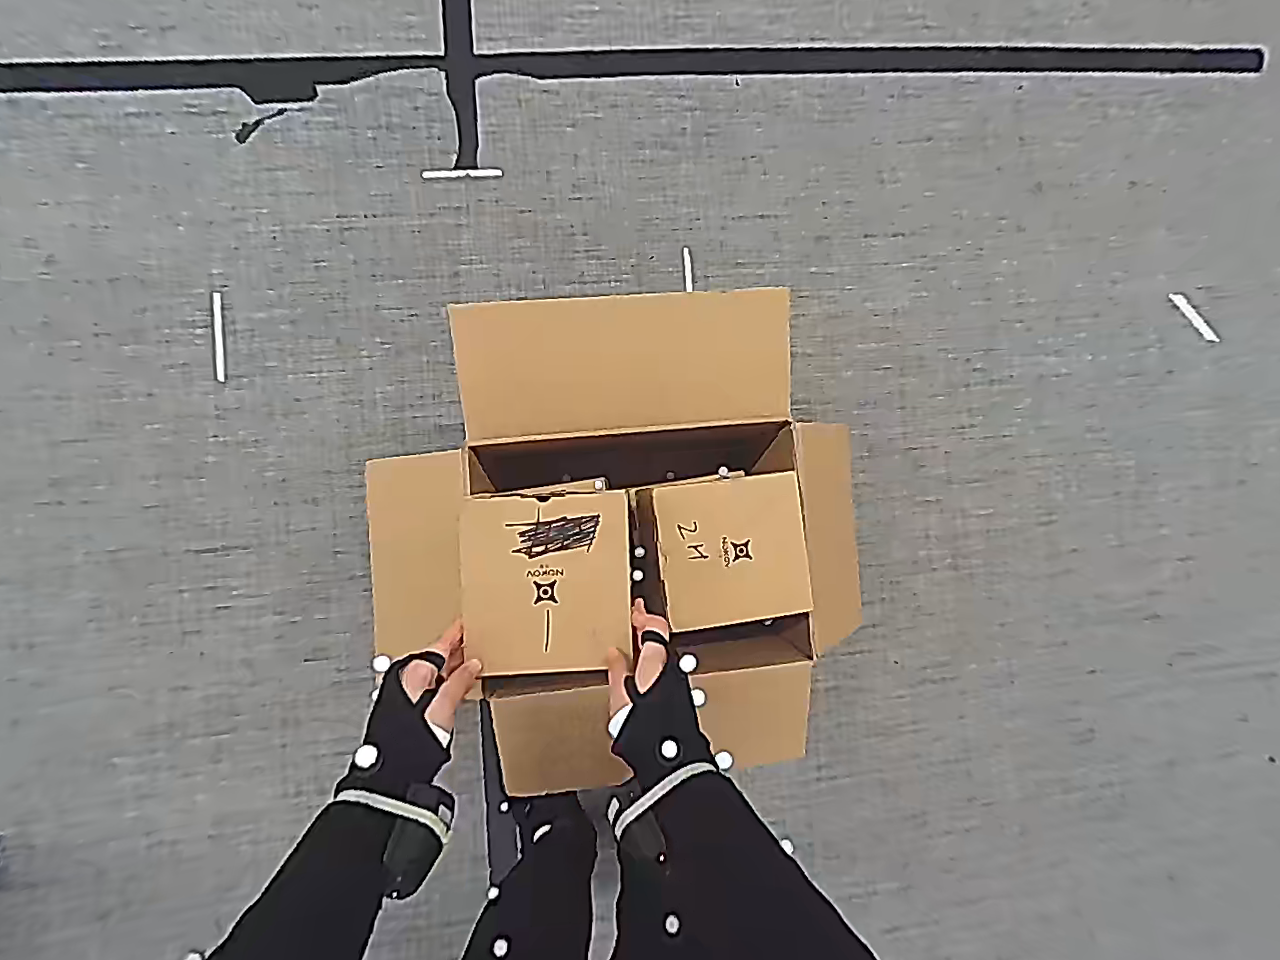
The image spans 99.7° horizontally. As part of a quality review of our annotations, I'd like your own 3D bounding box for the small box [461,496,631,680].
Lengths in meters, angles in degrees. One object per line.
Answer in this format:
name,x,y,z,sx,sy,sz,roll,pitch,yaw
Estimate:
small box,-0.098,0.109,0.613,0.168,0.176,0.179,-2,89,-2
